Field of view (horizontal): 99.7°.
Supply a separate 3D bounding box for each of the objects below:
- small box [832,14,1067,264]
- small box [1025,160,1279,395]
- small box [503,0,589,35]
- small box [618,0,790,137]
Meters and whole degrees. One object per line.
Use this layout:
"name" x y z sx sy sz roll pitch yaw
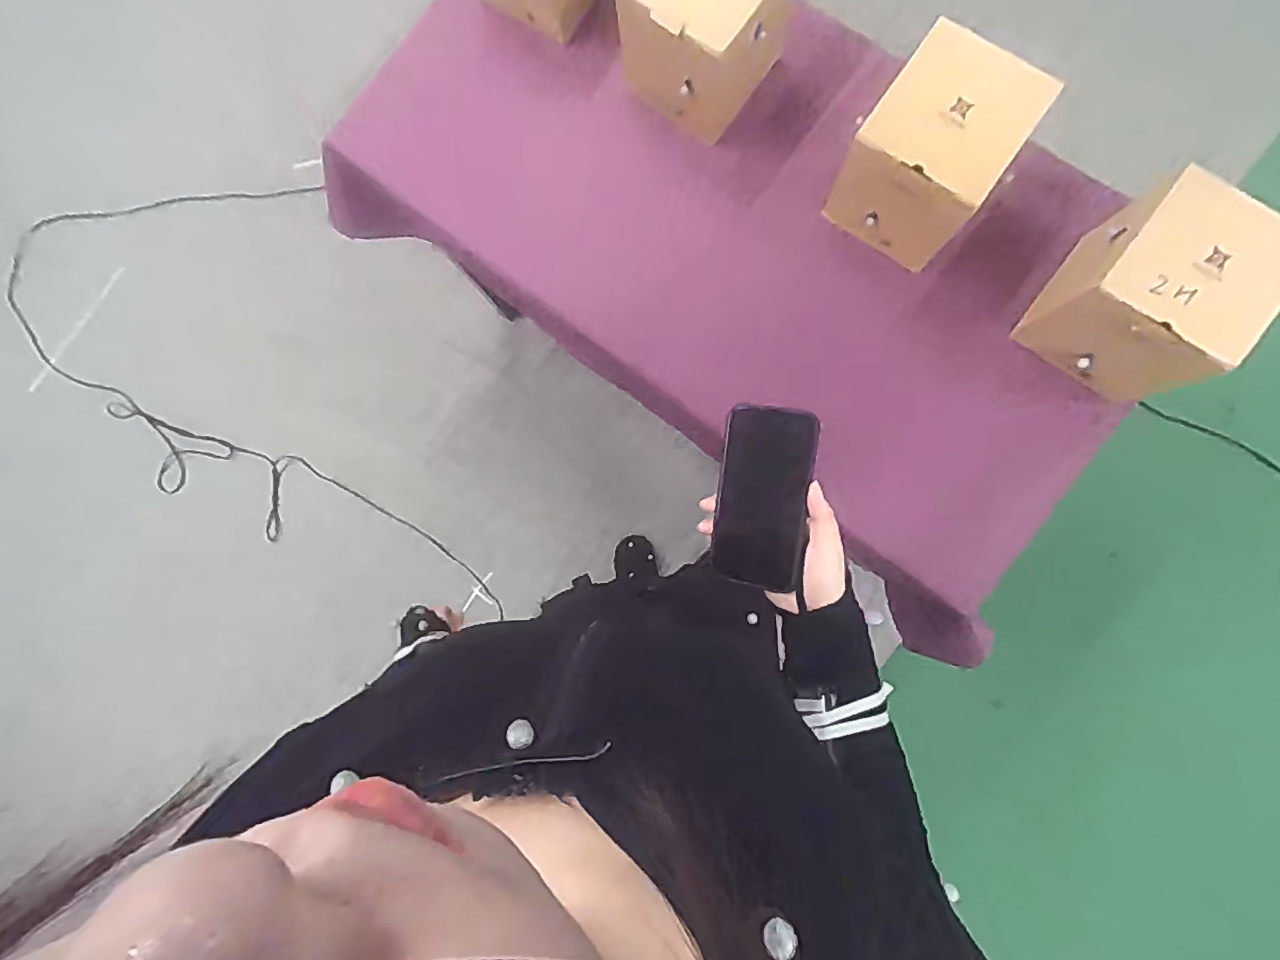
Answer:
"small box" 0.377 -0.422 0.699 0.168 0.176 0.179 35 91 6
"small box" 0.629 -0.231 0.661 0.168 0.176 0.179 37 91 7
"small box" -0.141 -0.796 0.764 0.168 0.176 0.179 33 91 5
"small box" 0.093 -0.623 0.735 0.168 0.176 0.179 38 90 5
